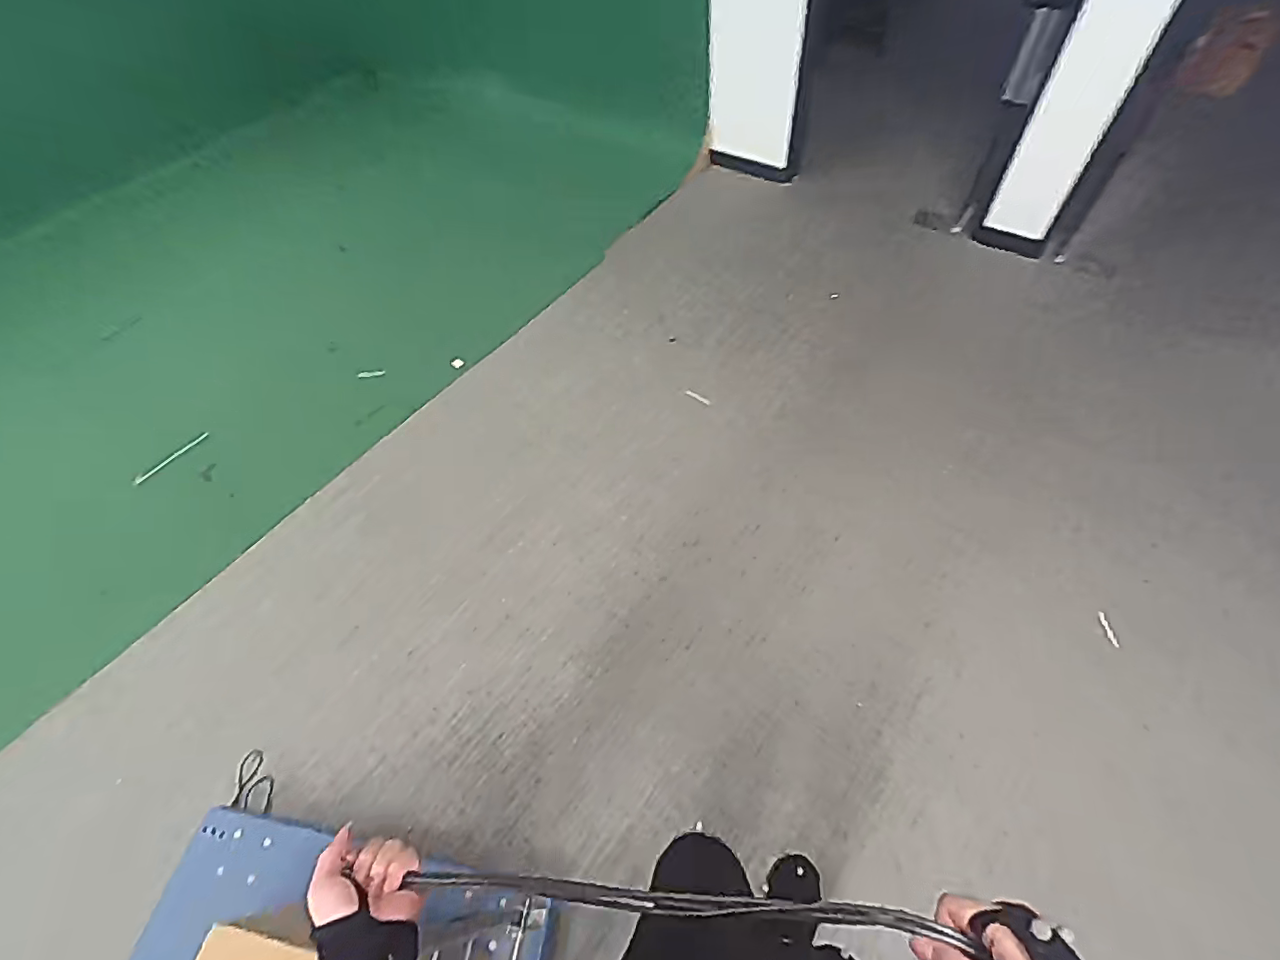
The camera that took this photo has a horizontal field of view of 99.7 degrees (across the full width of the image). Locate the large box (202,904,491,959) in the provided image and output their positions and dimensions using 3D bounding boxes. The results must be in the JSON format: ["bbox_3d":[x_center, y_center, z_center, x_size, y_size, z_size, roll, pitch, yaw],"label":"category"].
[{"bbox_3d":[-0.528,0.973,0.922,0.408,0.320,0.320,5,57,11],"label":"large box"}]
